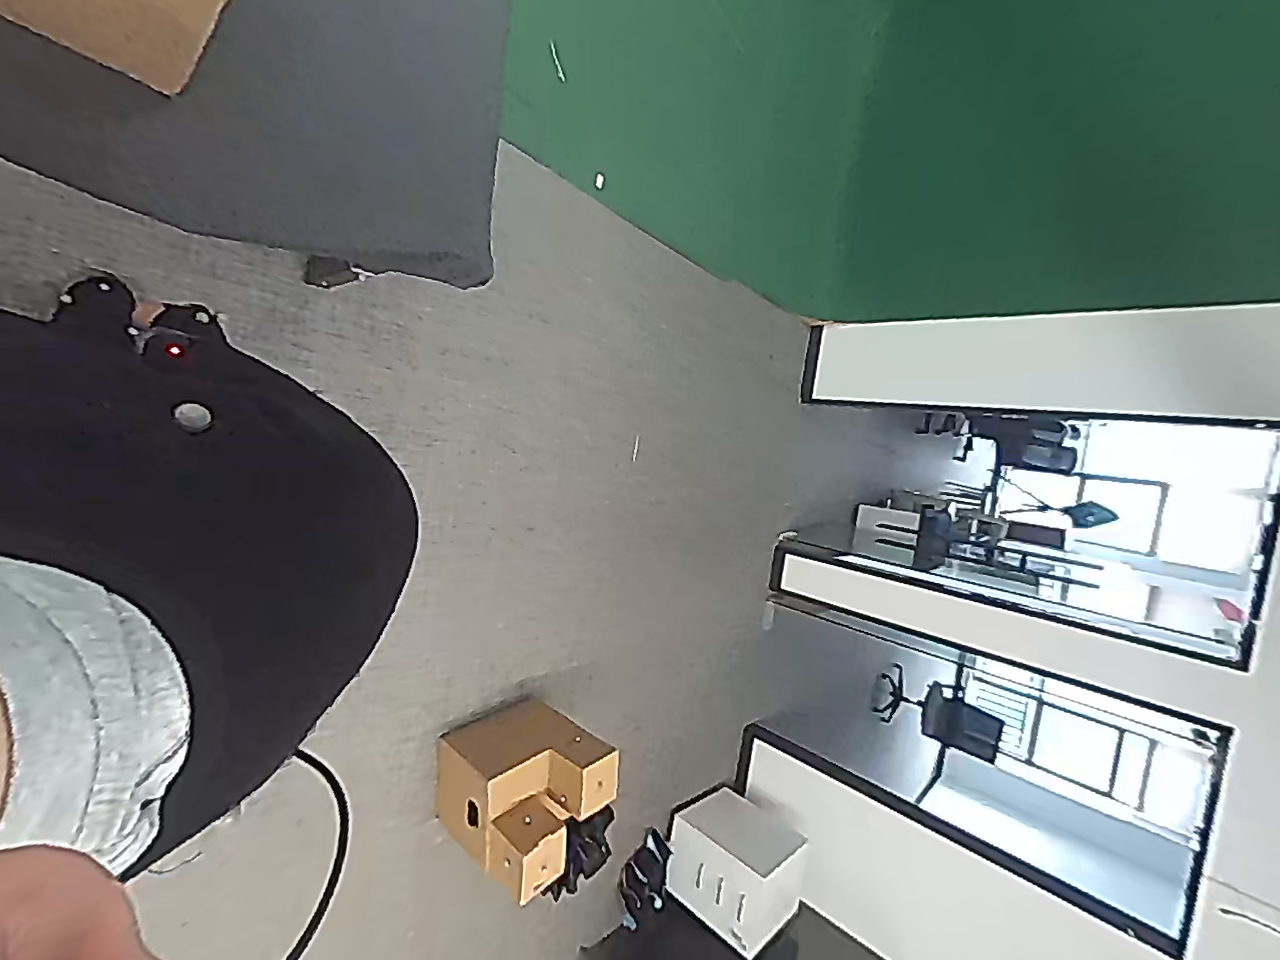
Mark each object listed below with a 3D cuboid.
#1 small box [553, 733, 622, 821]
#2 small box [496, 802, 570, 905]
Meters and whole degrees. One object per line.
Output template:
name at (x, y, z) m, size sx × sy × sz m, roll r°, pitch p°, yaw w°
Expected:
small box at (-0.178, 0.990, 1.818) m, size 0.168 × 0.176 × 0.179 m, roll -3°, pitch 97°, yaw -48°
small box at (-0.334, 1.140, 1.675) m, size 0.168 × 0.176 × 0.179 m, roll -8°, pitch 105°, yaw -47°
